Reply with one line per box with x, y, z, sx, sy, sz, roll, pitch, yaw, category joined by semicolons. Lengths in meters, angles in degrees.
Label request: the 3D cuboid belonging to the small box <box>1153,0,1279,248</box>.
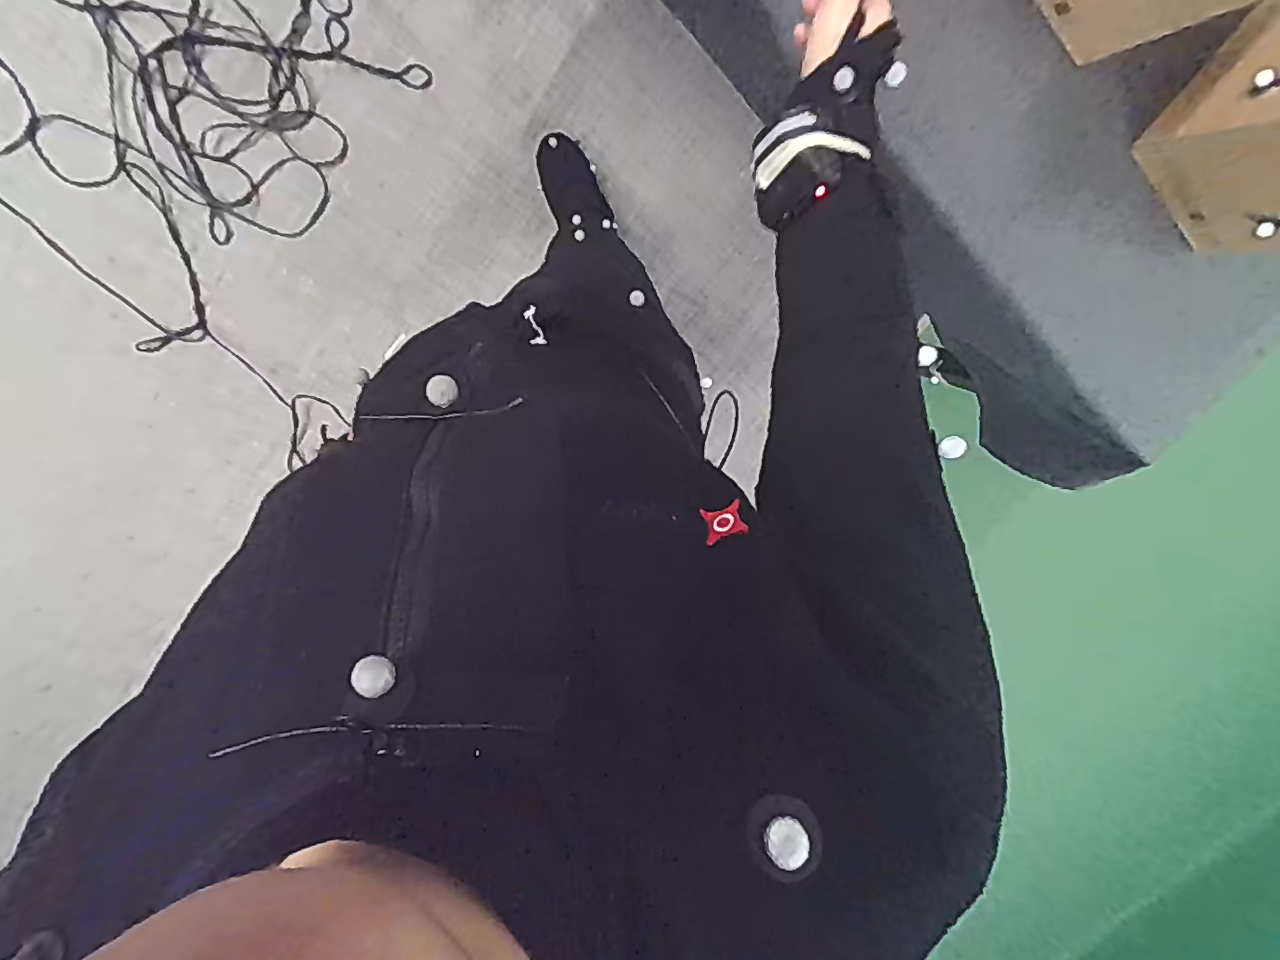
0.636;-0.334;0.496;0.168;0.176;0.179;33;102;-21;small box
